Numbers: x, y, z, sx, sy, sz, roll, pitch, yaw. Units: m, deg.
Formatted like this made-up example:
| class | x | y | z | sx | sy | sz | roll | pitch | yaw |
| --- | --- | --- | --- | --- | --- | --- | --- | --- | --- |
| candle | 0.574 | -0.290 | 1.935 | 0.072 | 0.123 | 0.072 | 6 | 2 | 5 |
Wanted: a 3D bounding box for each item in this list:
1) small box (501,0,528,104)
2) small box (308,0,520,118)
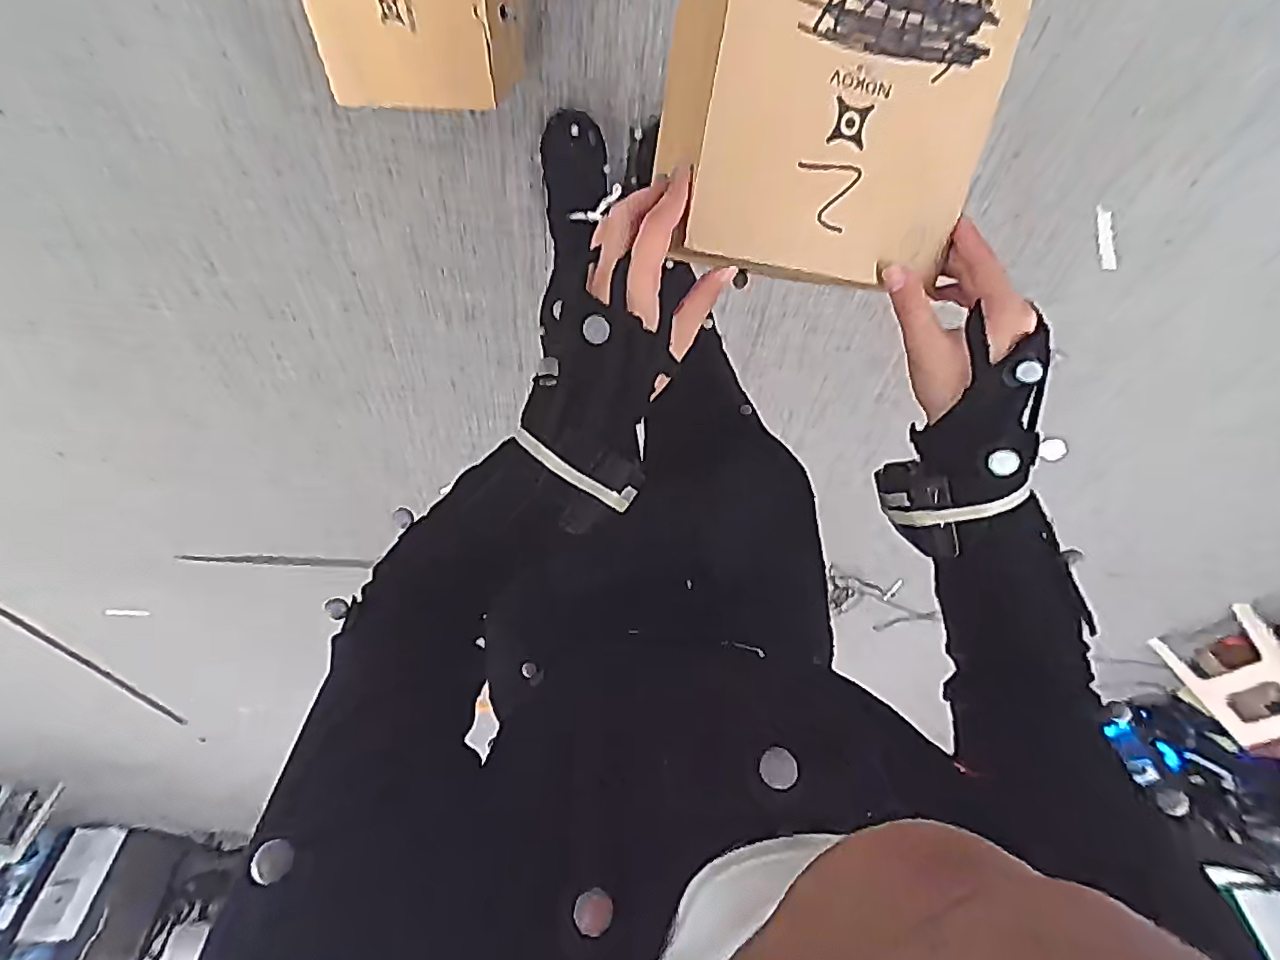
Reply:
| class | x | y | z | sx | sy | sz | roll | pitch | yaw |
| --- | --- | --- | --- | --- | --- | --- | --- | --- | --- |
| small box | -0.238 | -0.627 | 0.704 | 0.168 | 0.176 | 0.179 | 5 | 137 | -7 |
| small box | -0.237 | -0.513 | 0.588 | 0.179 | 0.176 | 0.168 | -1 | 137 | -2 |
